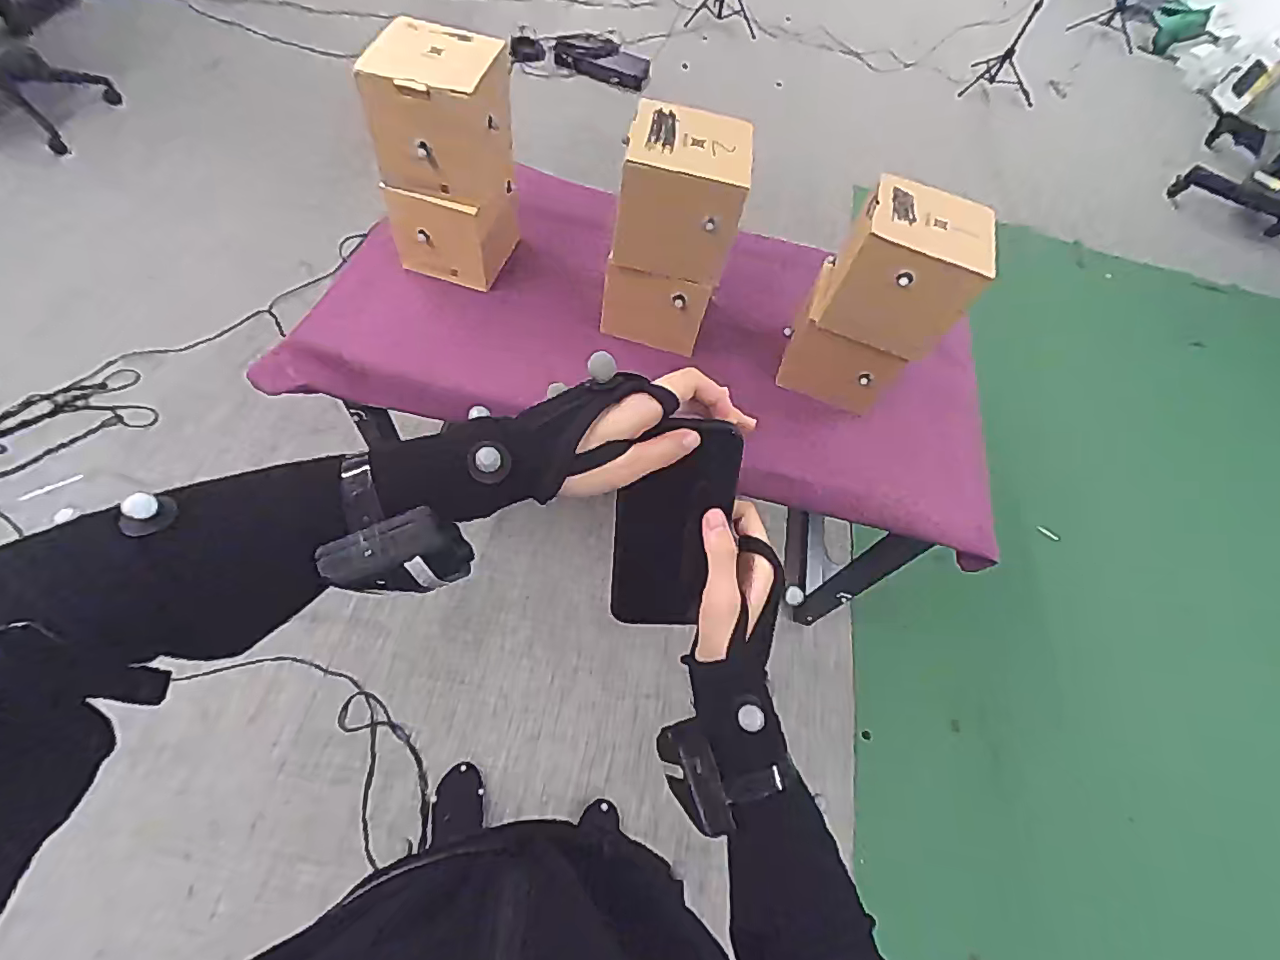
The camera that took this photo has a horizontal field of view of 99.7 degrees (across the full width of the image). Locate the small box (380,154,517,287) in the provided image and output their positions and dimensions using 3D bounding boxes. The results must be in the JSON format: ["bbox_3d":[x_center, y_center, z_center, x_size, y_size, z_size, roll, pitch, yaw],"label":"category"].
[{"bbox_3d":[-0.330,-0.482,0.980,0.168,0.176,0.179,16,59,1],"label":"small box"}]

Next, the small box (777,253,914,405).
[{"bbox_3d":[0.366,-0.258,0.956,0.179,0.176,0.168,21,59,4],"label":"small box"}]

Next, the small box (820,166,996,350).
[{"bbox_3d":[0.391,-0.324,0.807,0.179,0.176,0.168,21,59,3],"label":"small box"}]

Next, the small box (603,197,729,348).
[{"bbox_3d":[0.041,-0.361,0.965,0.179,0.176,0.168,15,59,1],"label":"small box"}]

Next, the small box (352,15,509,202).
[{"bbox_3d":[-0.308,-0.570,0.842,0.168,0.176,0.179,12,60,-2],"label":"small box"}]
